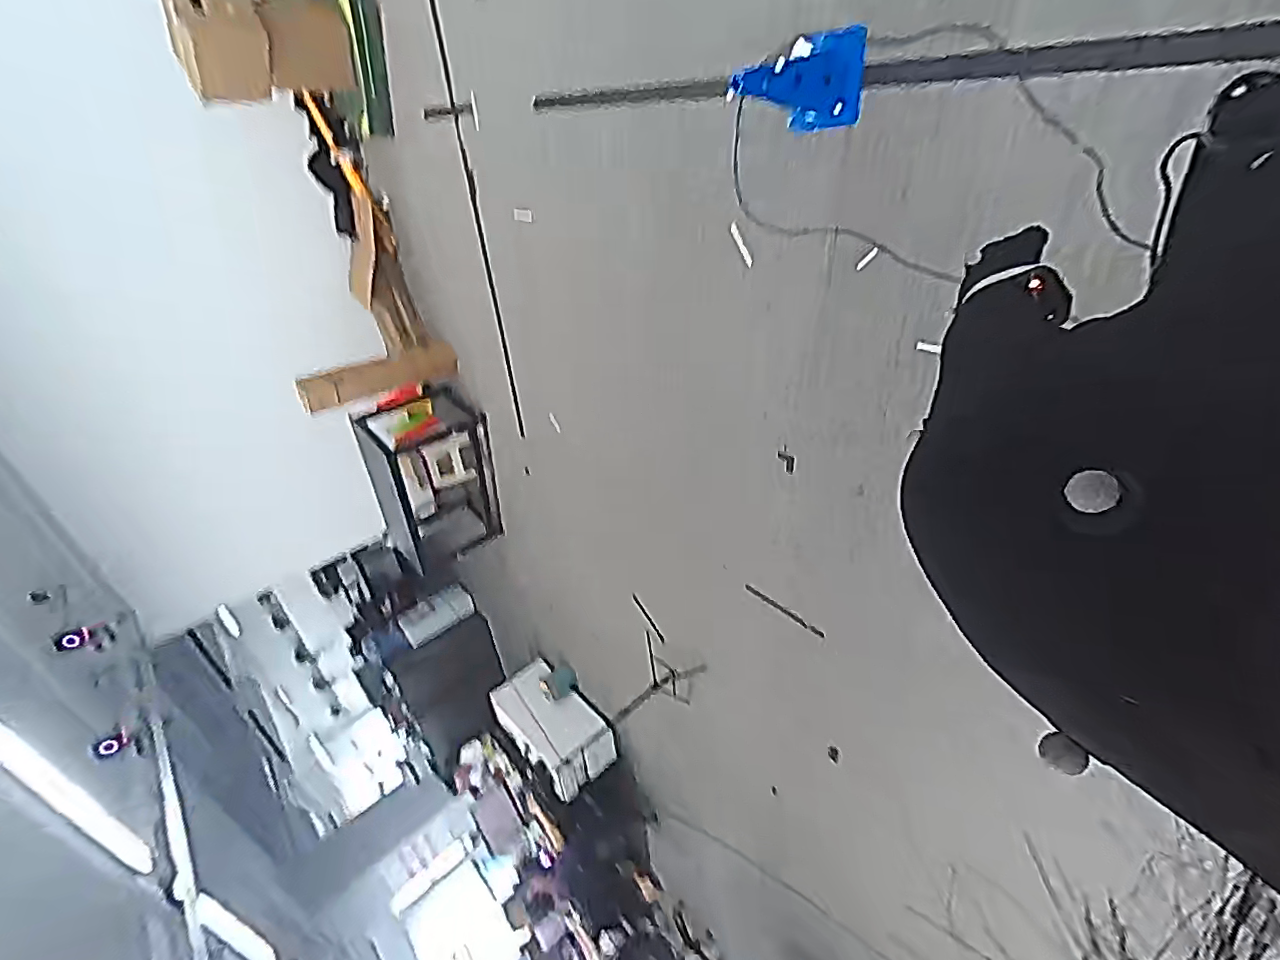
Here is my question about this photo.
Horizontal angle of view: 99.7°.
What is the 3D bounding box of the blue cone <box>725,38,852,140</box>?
[{"bbox_3d":[0.323,-0.907,1.257,0.193,0.380,0.192,22,130,41],"label":"blue cone"}]
